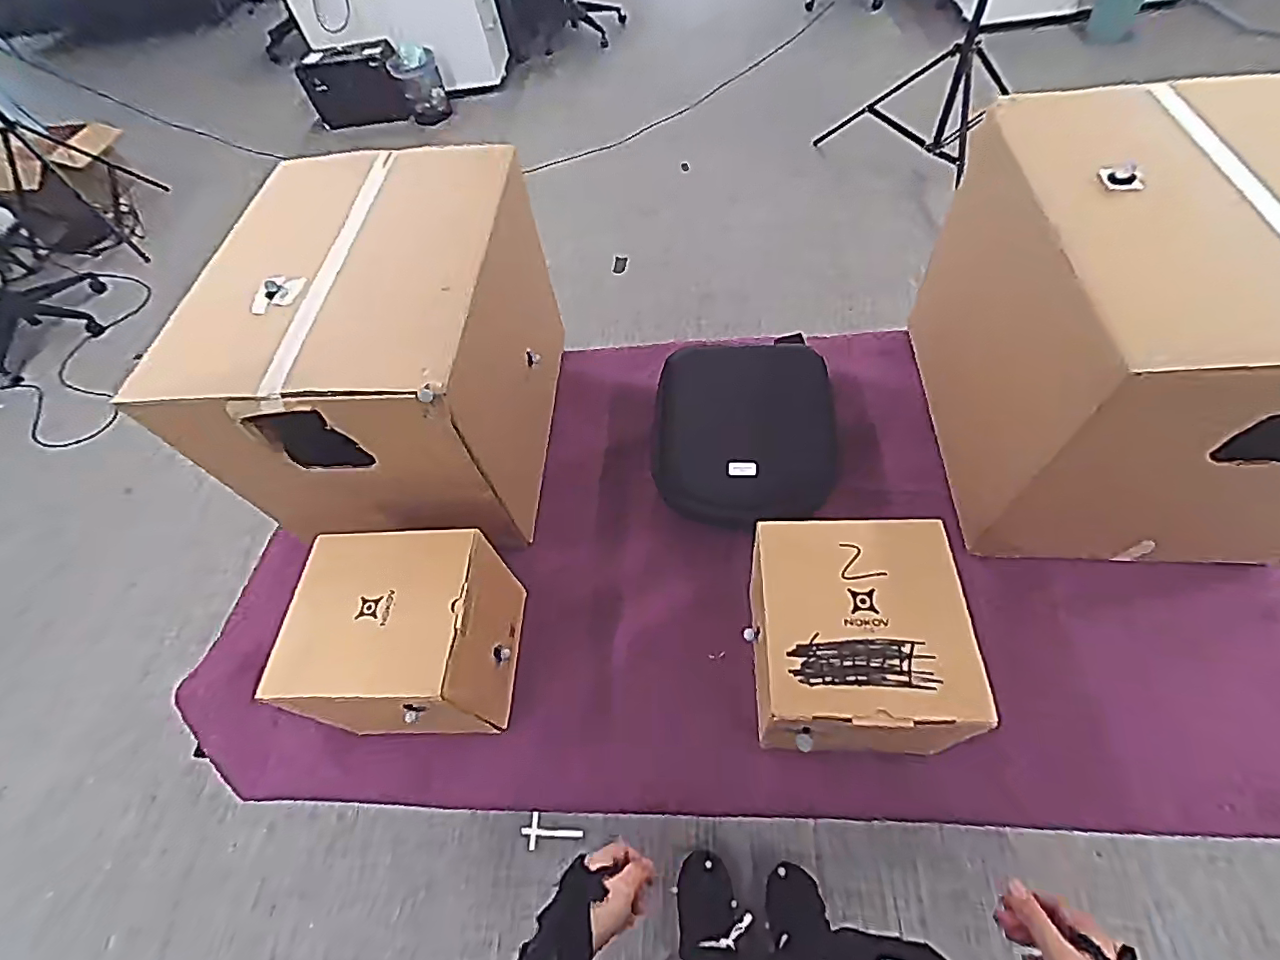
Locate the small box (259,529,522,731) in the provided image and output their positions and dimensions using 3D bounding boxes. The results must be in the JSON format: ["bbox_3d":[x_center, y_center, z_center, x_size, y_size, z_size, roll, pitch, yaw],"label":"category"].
[{"bbox_3d":[-0.244,0.168,0.581,0.179,0.176,0.168,-3,56,5],"label":"small box"}]

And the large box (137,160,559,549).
[{"bbox_3d":[-0.299,-0.151,0.711,0.320,0.320,0.408,-2,59,5],"label":"large box"}]
